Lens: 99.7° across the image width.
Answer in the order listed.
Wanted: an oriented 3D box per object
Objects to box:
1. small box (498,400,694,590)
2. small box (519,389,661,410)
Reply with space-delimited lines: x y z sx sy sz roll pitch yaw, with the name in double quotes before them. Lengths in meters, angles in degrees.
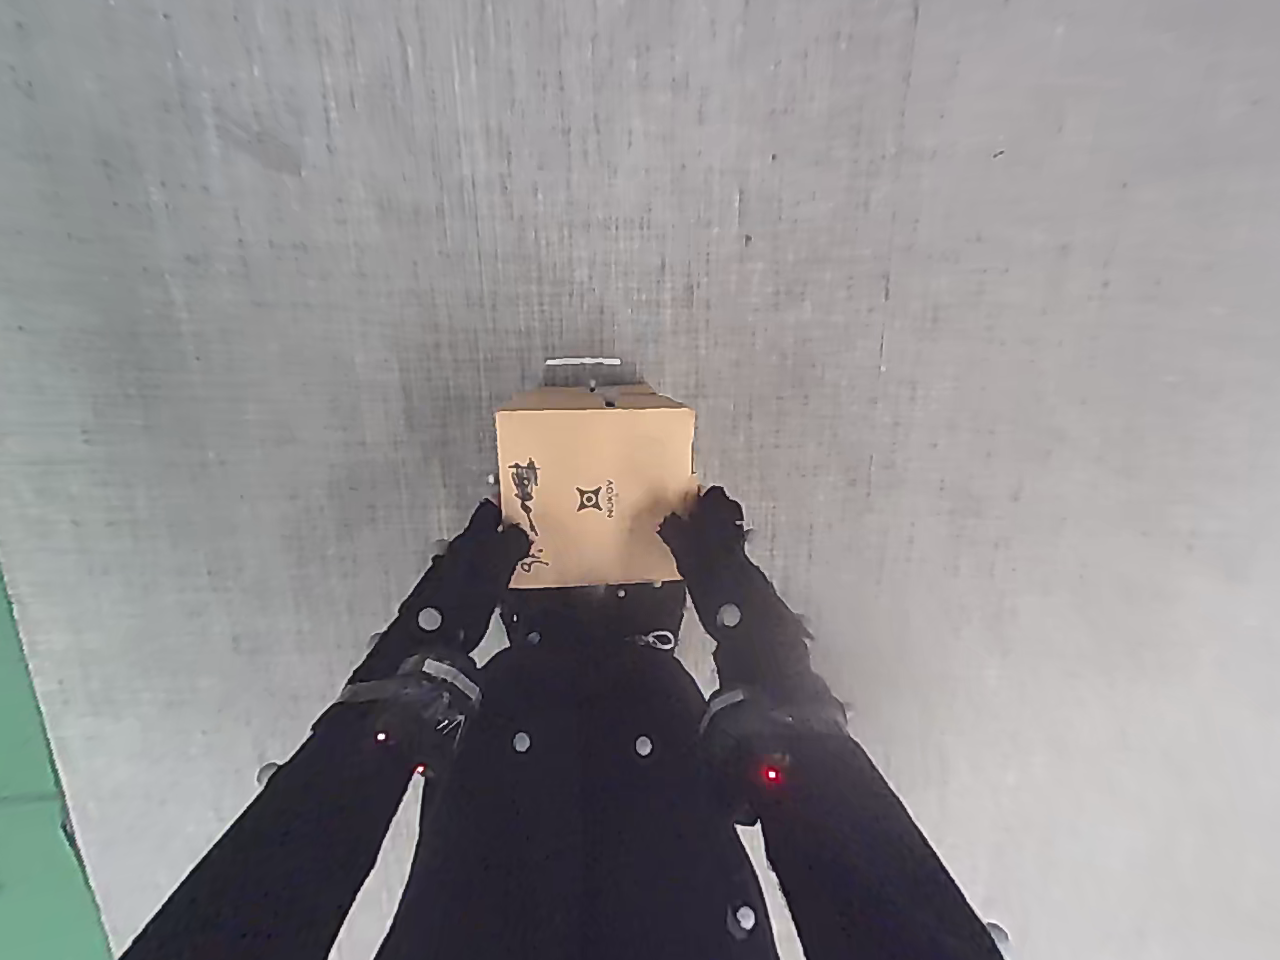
"small box" -0.046 0.003 0.571 0.179 0.176 0.168 -3 101 -6
"small box" -0.061 -0.038 0.752 0.179 0.176 0.168 -3 103 -1
